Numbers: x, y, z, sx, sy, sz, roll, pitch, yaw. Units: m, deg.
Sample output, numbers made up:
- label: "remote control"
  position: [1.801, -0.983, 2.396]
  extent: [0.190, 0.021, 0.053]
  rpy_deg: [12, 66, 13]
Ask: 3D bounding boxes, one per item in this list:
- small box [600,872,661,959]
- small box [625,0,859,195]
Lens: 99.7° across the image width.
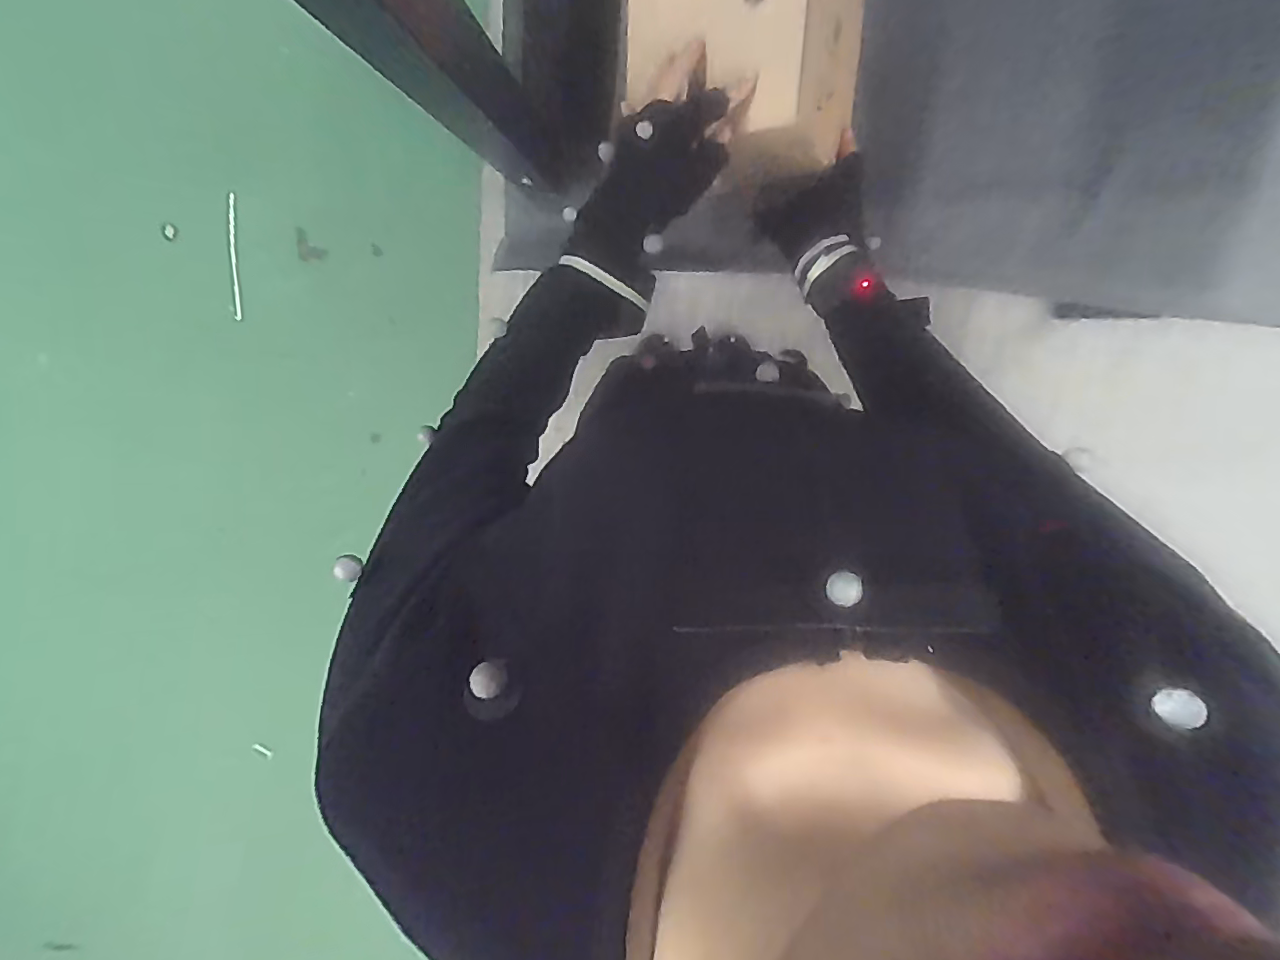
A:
- label: "small box"
  position: [-0.029, 1.472, 1.821]
  extent: [0.168, 0.176, 0.179]
  rpy_deg: [15, 107, 1]
- label: "small box"
  position: [0.097, -0.390, 0.512]
  extent: [0.176, 0.168, 0.179]
  rpy_deg: [11, 107, 30]
